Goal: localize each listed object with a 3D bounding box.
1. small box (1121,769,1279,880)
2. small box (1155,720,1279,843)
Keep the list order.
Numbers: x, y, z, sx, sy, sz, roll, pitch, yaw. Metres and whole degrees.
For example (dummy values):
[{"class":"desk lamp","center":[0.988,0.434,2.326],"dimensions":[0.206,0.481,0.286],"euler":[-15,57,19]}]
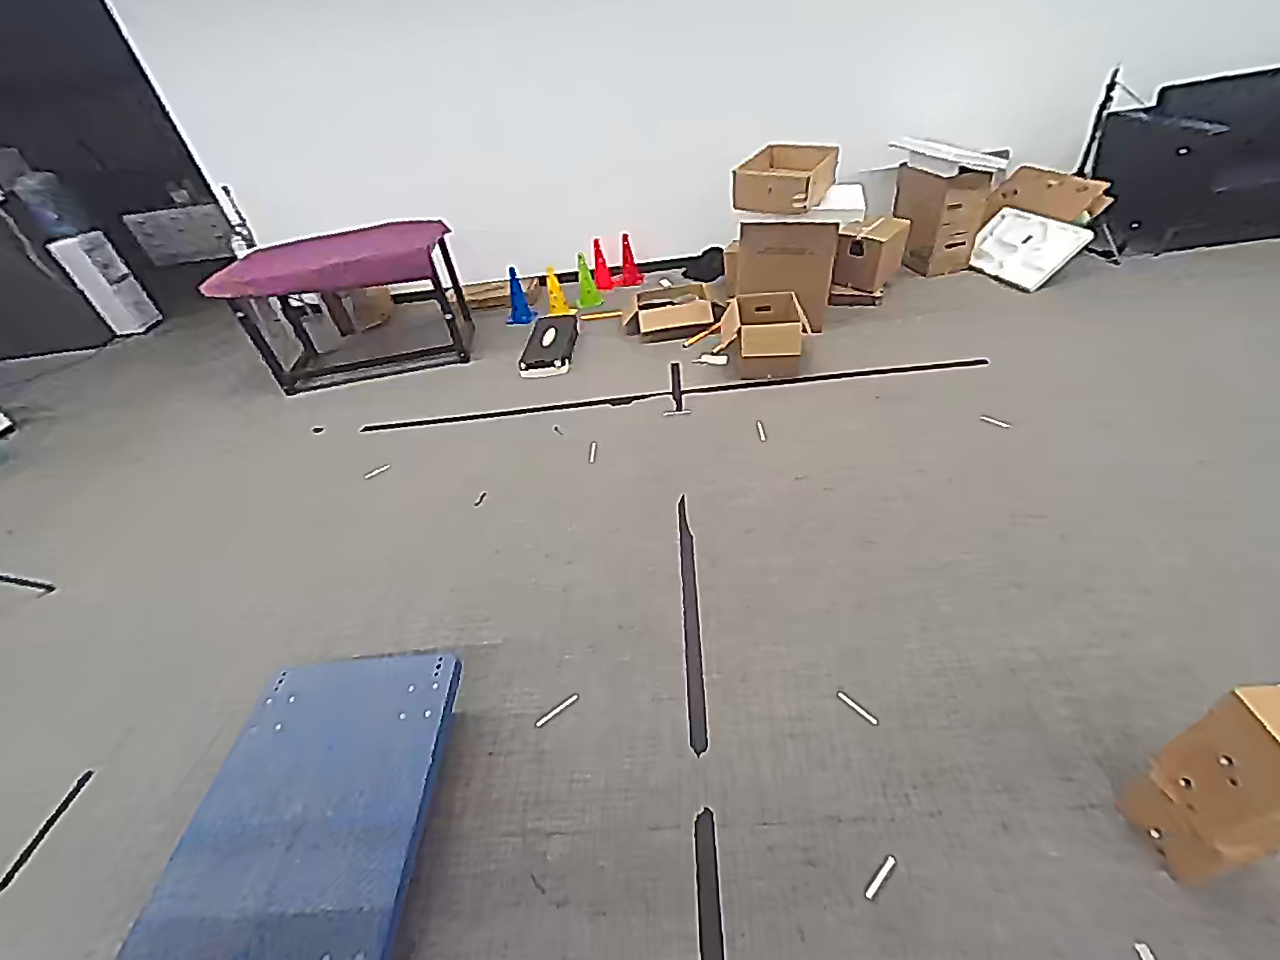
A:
[{"class":"small box","center":[1.206,0.724,1.164],"dimensions":[0.179,0.176,0.168],"euler":[-13,39,-5]},{"class":"small box","center":[1.194,0.594,1.066],"dimensions":[0.179,0.176,0.168],"euler":[-5,39,5]}]
